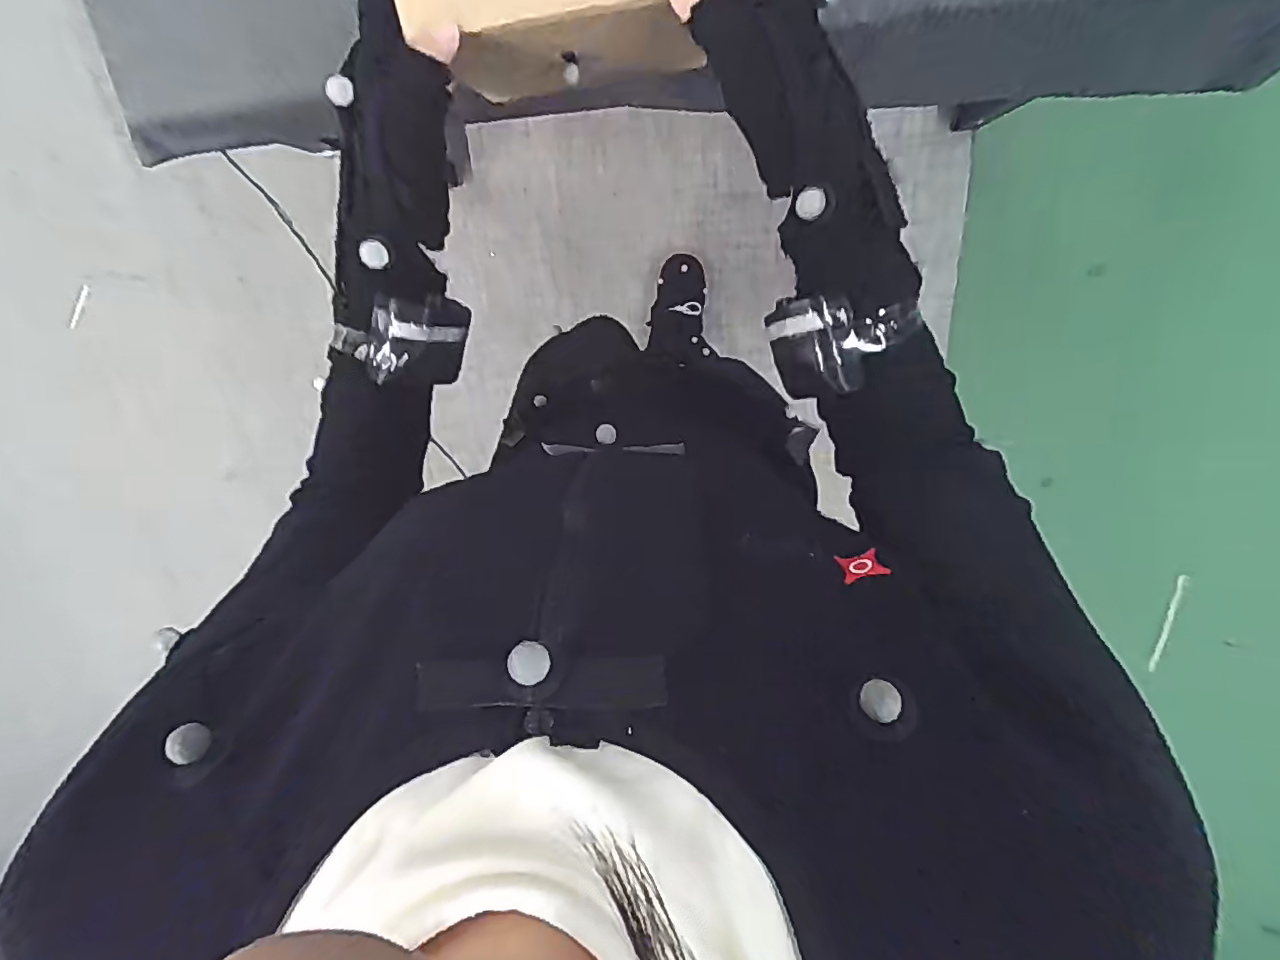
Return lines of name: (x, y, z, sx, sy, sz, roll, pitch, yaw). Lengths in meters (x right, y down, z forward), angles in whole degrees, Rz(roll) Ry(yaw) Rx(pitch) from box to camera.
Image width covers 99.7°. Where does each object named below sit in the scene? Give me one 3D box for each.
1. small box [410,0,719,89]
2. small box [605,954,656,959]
small box: (-0.045, -0.366, 0.333, 0.179, 0.176, 0.168, -5, 115, 6)
small box: (-0.030, 1.647, 1.710, 0.179, 0.176, 0.168, -6, 109, 10)
